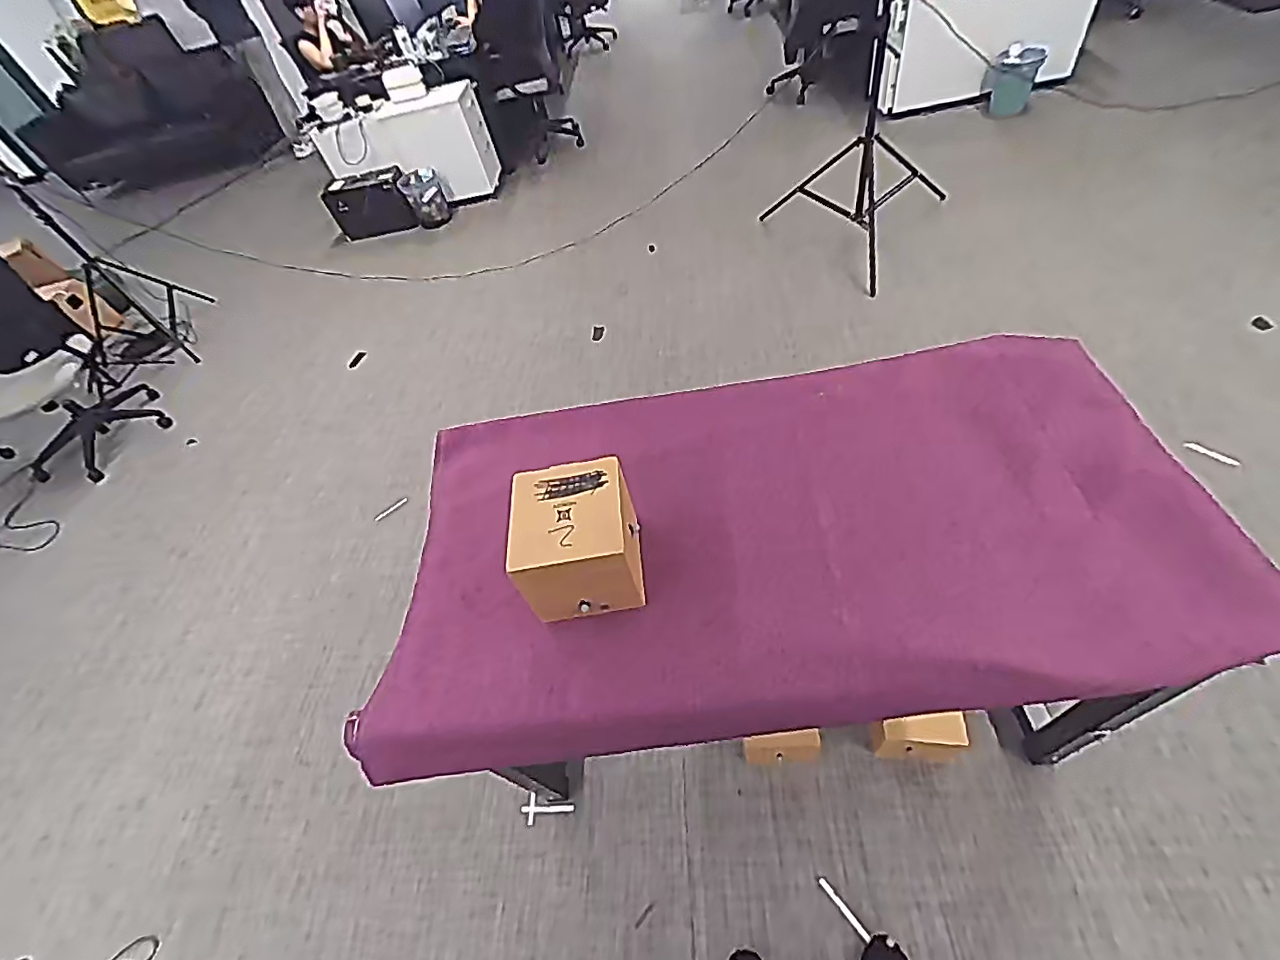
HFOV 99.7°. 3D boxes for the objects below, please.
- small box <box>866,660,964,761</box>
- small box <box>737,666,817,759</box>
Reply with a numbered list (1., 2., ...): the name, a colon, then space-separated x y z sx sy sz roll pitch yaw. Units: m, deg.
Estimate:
1. small box: 0.632 0.540 1.263 0.168 0.176 0.179 -1 51 13
2. small box: 0.328 0.568 1.309 0.168 0.176 0.179 -5 50 8
